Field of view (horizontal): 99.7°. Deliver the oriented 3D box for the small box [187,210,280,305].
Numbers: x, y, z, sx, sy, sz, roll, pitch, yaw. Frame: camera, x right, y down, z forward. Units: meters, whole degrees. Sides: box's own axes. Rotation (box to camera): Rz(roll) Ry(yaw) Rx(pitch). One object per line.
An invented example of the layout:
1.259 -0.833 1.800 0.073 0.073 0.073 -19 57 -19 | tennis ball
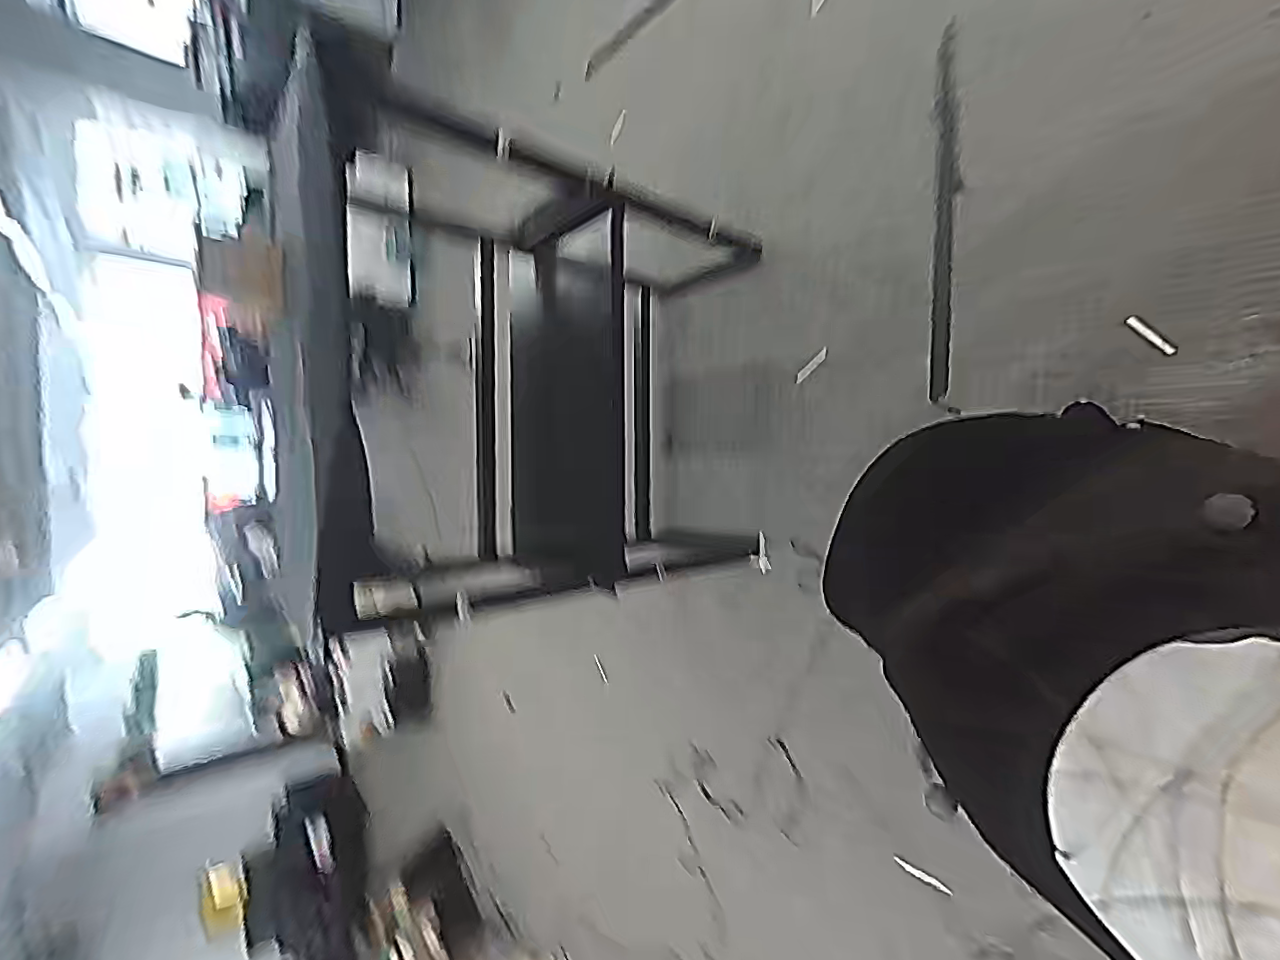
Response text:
-0.987 -0.531 1.315 0.179 0.176 0.168 11 99 48 | small box
